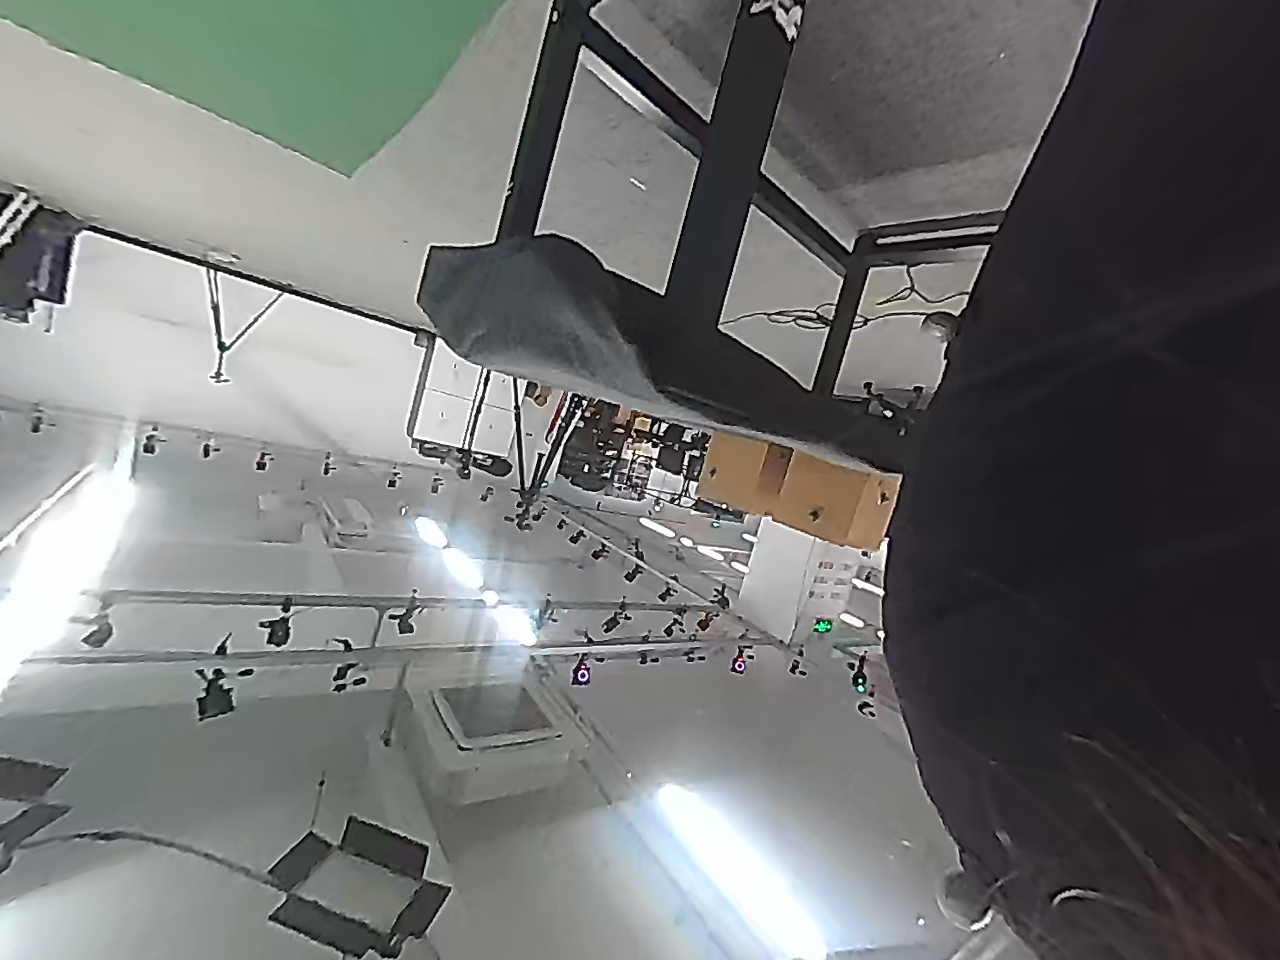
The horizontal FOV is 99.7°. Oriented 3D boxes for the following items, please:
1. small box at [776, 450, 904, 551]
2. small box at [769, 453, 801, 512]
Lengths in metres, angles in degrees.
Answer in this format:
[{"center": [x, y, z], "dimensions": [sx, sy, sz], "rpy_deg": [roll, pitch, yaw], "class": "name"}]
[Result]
[{"center": [0.426, 0.039, 1.150], "dimensions": [0.168, 0.176, 0.179], "rpy_deg": [12, -174, -42], "class": "small box"}, {"center": [0.486, 0.031, 1.466], "dimensions": [0.168, 0.176, 0.179], "rpy_deg": [12, -174, -42], "class": "small box"}]
